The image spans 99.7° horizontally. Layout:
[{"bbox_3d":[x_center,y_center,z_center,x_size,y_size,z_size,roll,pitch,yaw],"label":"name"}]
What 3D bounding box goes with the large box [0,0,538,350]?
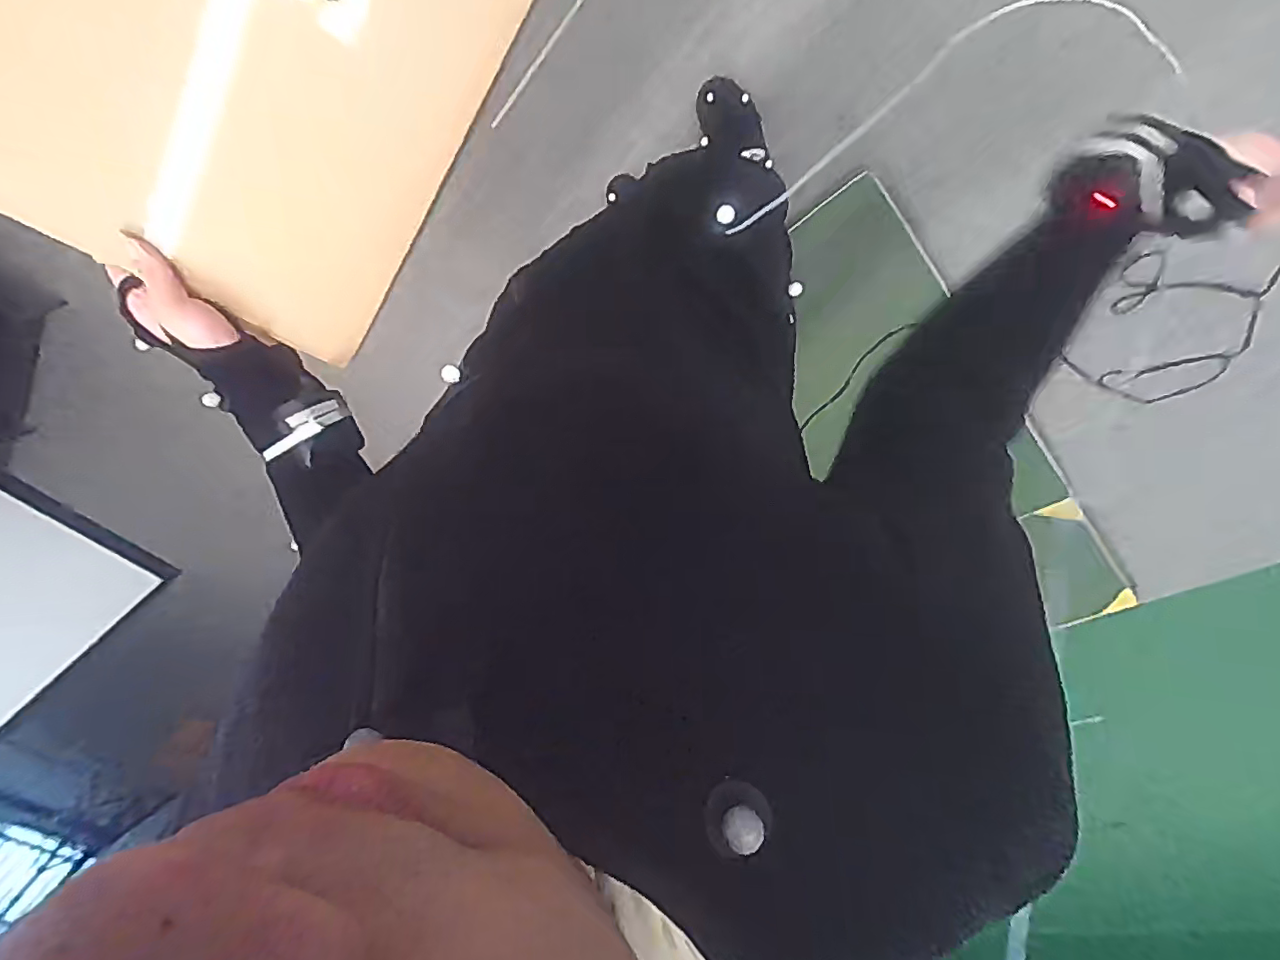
[{"bbox_3d":[-0.313,-0.408,0.502,0.320,0.320,0.408,27,113,-30],"label":"large box"}]
